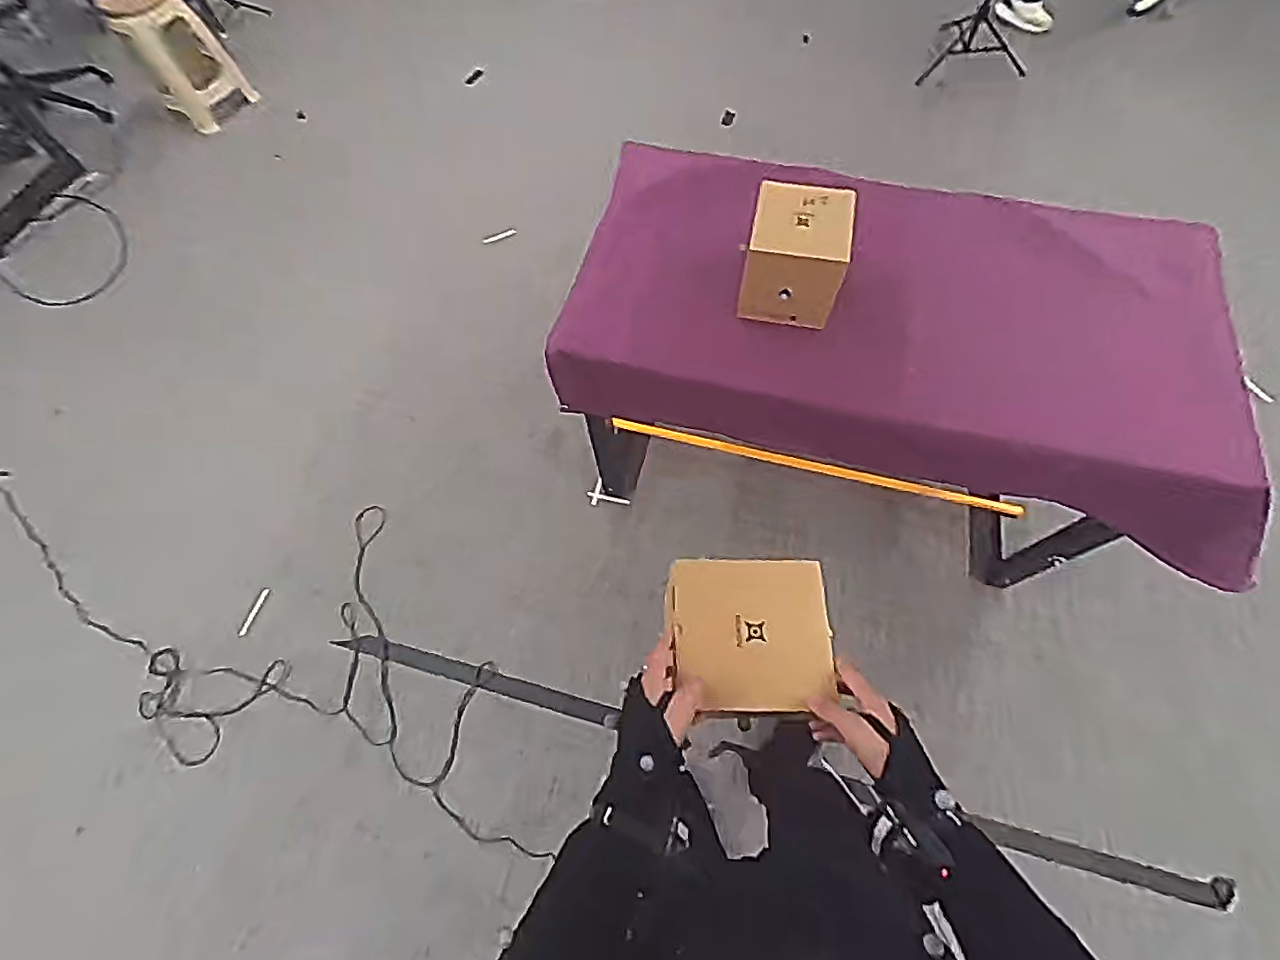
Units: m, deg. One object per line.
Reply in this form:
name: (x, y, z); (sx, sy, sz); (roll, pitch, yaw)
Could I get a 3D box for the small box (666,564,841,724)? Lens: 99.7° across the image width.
small box: (0.123, 0.206, 0.665); (0.179, 0.176, 0.168); (0, 64, 1)

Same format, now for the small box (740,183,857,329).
small box: (0.283, -0.404, 0.990); (0.168, 0.176, 0.179); (11, 66, 7)
